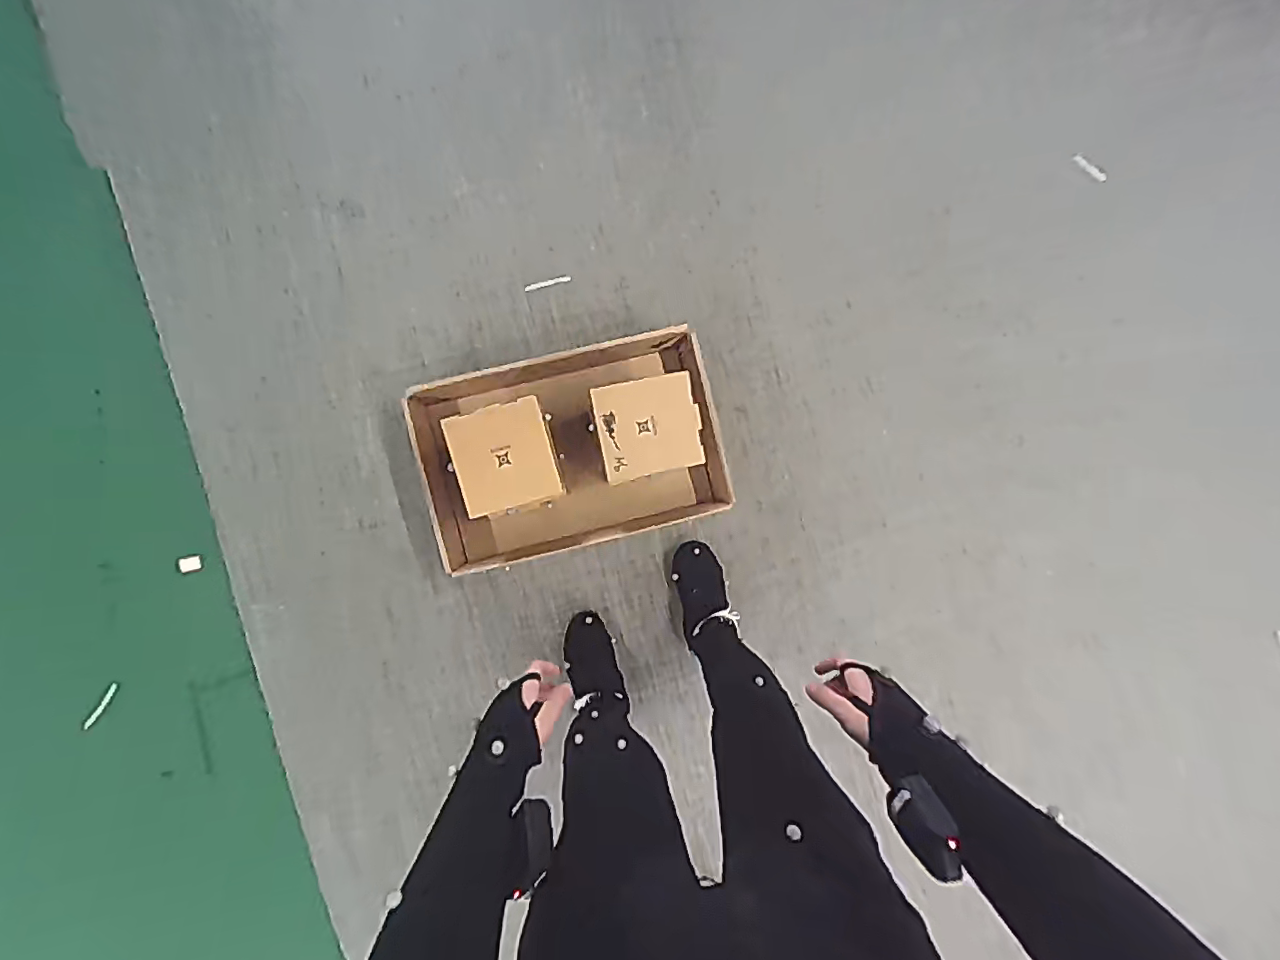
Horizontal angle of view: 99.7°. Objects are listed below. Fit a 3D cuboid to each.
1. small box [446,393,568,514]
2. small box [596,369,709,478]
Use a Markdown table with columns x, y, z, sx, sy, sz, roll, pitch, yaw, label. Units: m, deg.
| x | y | z | sx | sy | sz | roll | pitch | yaw | label |
| --- | --- | --- | --- | --- | --- | --- | --- | --- | --- |
| -0.235 | -0.048 | 0.999 | 0.168 | 0.176 | 0.179 | -17 | 92 | -6 | small box |
| 0.016 | -0.102 | 1.010 | 0.179 | 0.176 | 0.168 | -11 | 92 | -3 | small box |
